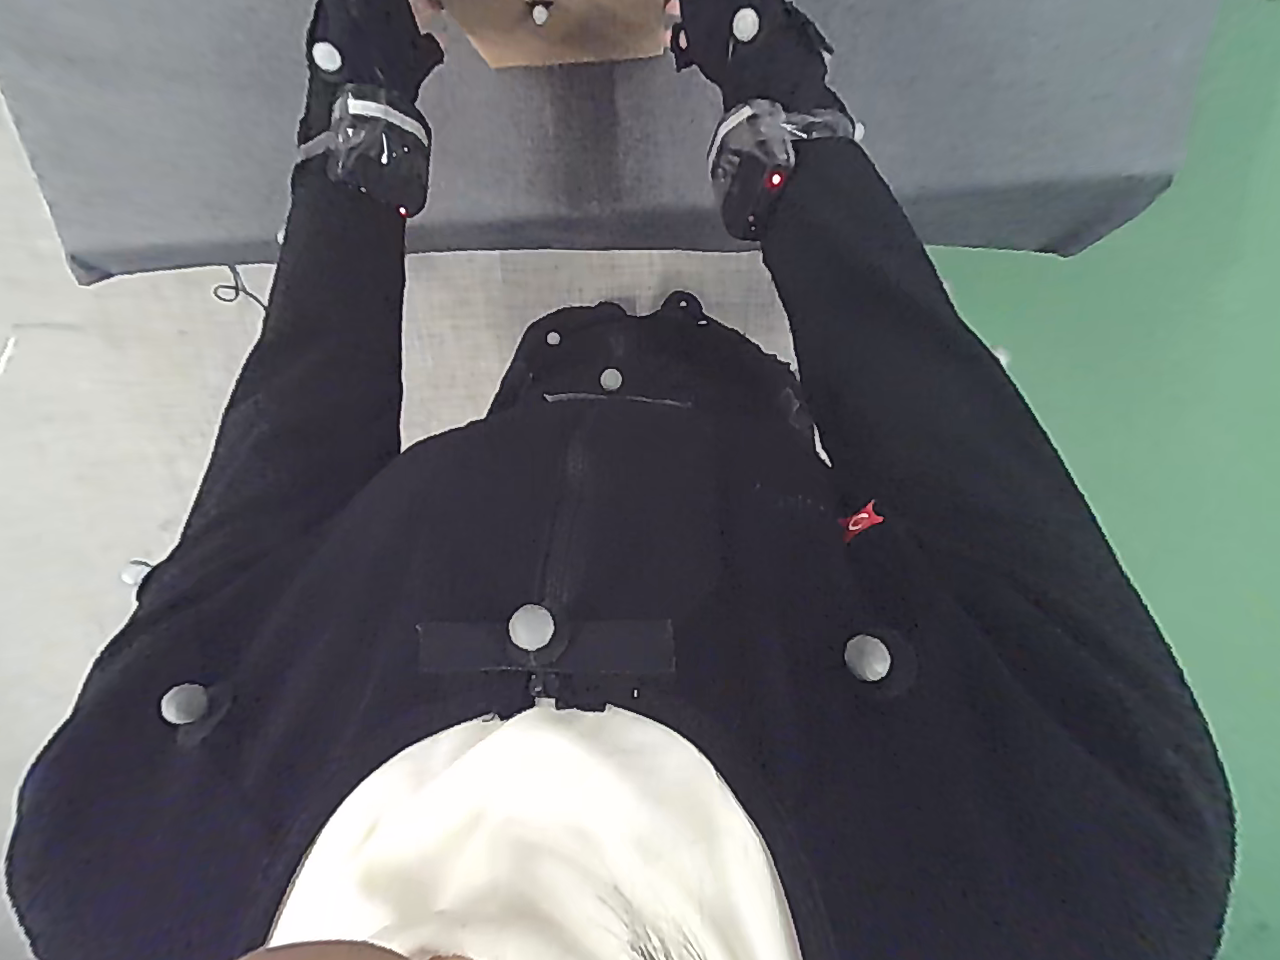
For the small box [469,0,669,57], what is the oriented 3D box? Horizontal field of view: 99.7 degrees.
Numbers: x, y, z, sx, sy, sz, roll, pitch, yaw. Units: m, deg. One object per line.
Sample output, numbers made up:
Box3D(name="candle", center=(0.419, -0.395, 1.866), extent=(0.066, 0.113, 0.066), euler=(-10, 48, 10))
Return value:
Box3D(name="small box", center=(-0.065, -0.478, 0.442), extent=(0.179, 0.176, 0.168), euler=(-2, 110, 3))
